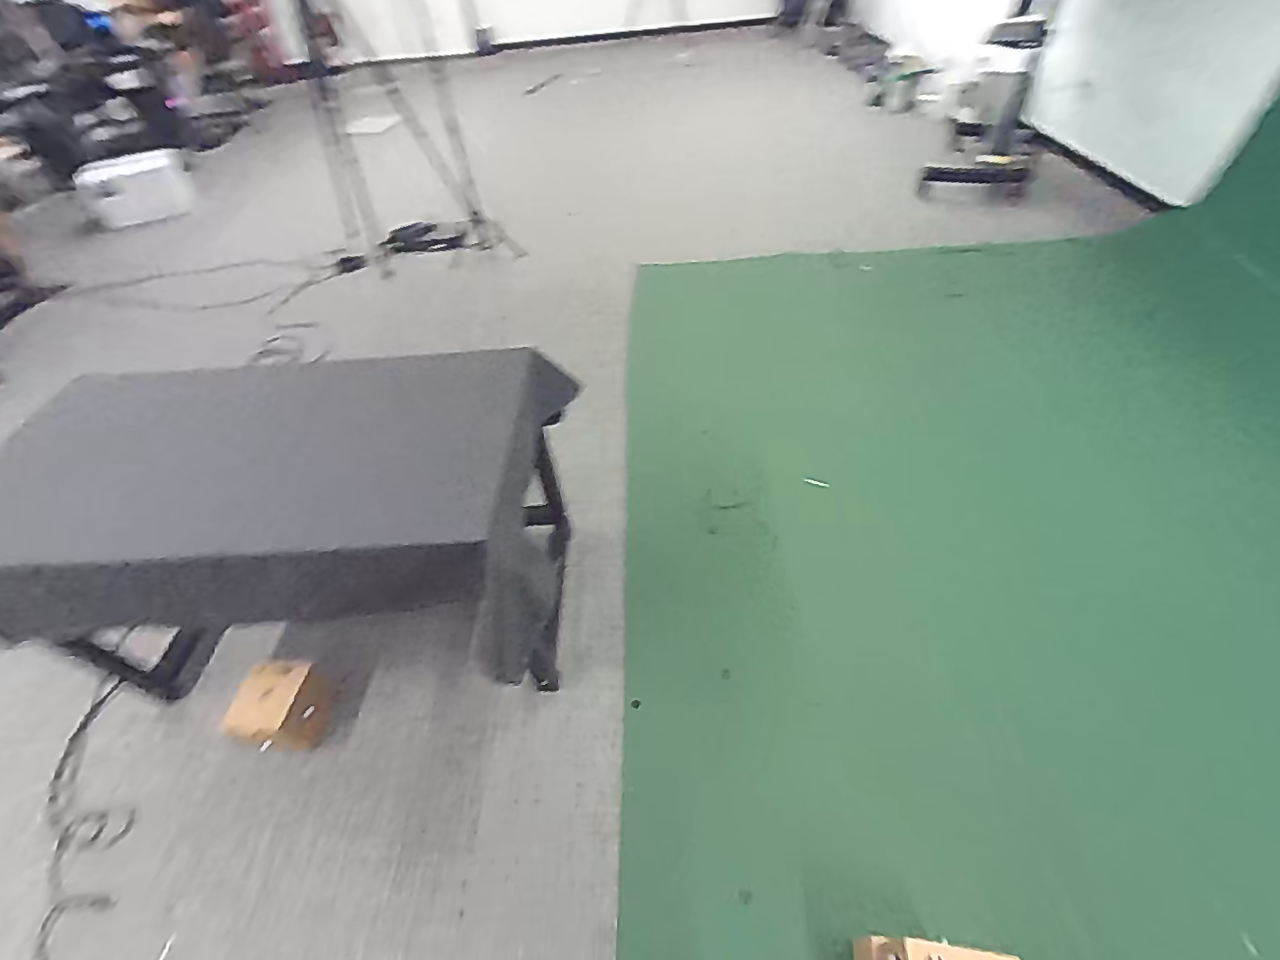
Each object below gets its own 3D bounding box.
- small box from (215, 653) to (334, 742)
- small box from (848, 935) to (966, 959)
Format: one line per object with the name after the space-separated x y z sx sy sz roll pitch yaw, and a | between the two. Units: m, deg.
-0.958 0.581 1.438 0.168 0.176 0.179 1 48 6 | small box
0.489 0.953 0.978 0.179 0.176 0.168 5 47 11 | small box
